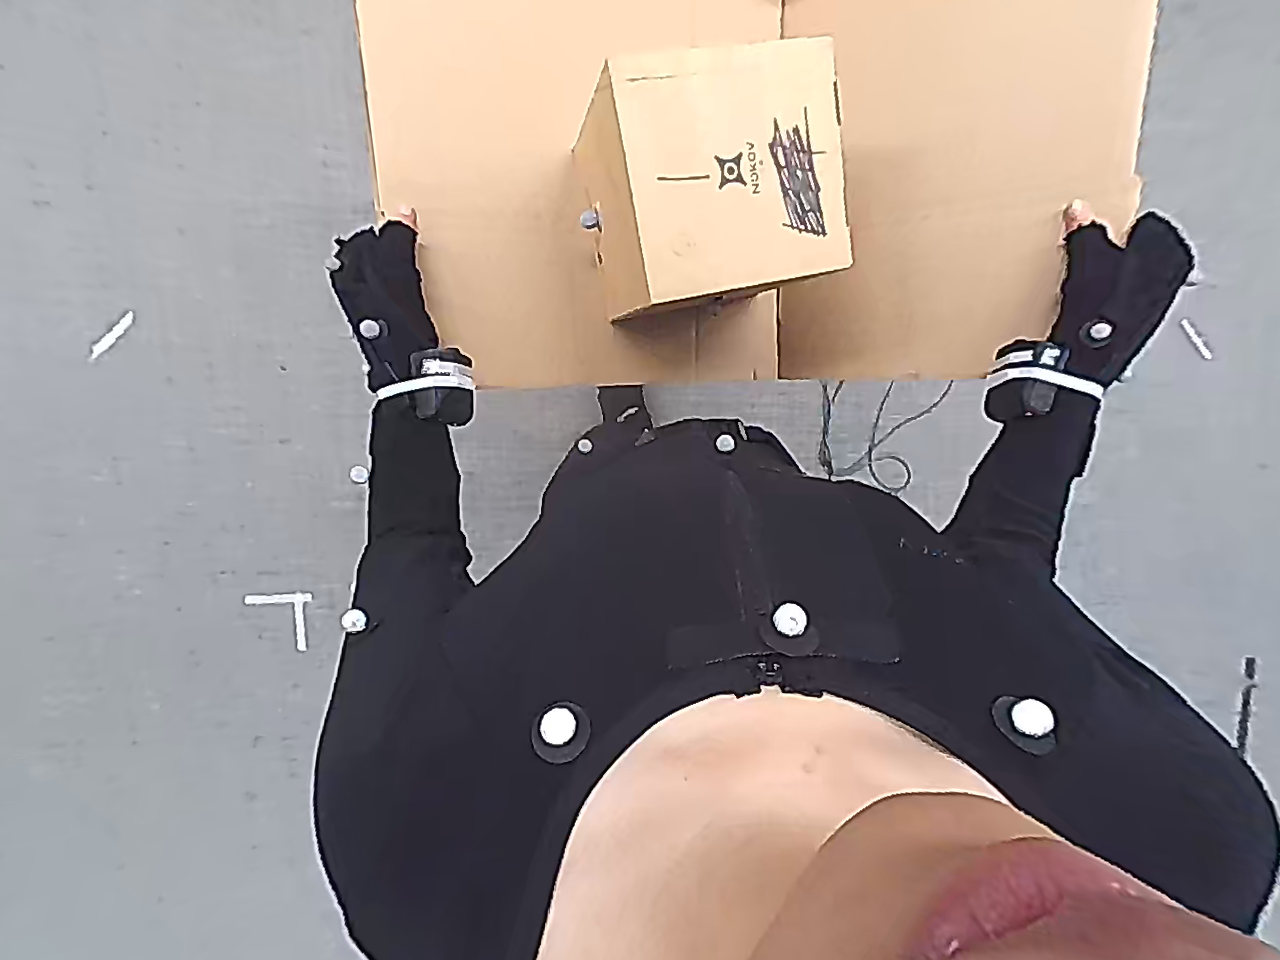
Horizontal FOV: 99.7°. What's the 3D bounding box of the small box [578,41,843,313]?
[{"bbox_3d":[0.054,-0.253,0.488,0.179,0.176,0.168,-14,105,-11],"label":"small box"}]
